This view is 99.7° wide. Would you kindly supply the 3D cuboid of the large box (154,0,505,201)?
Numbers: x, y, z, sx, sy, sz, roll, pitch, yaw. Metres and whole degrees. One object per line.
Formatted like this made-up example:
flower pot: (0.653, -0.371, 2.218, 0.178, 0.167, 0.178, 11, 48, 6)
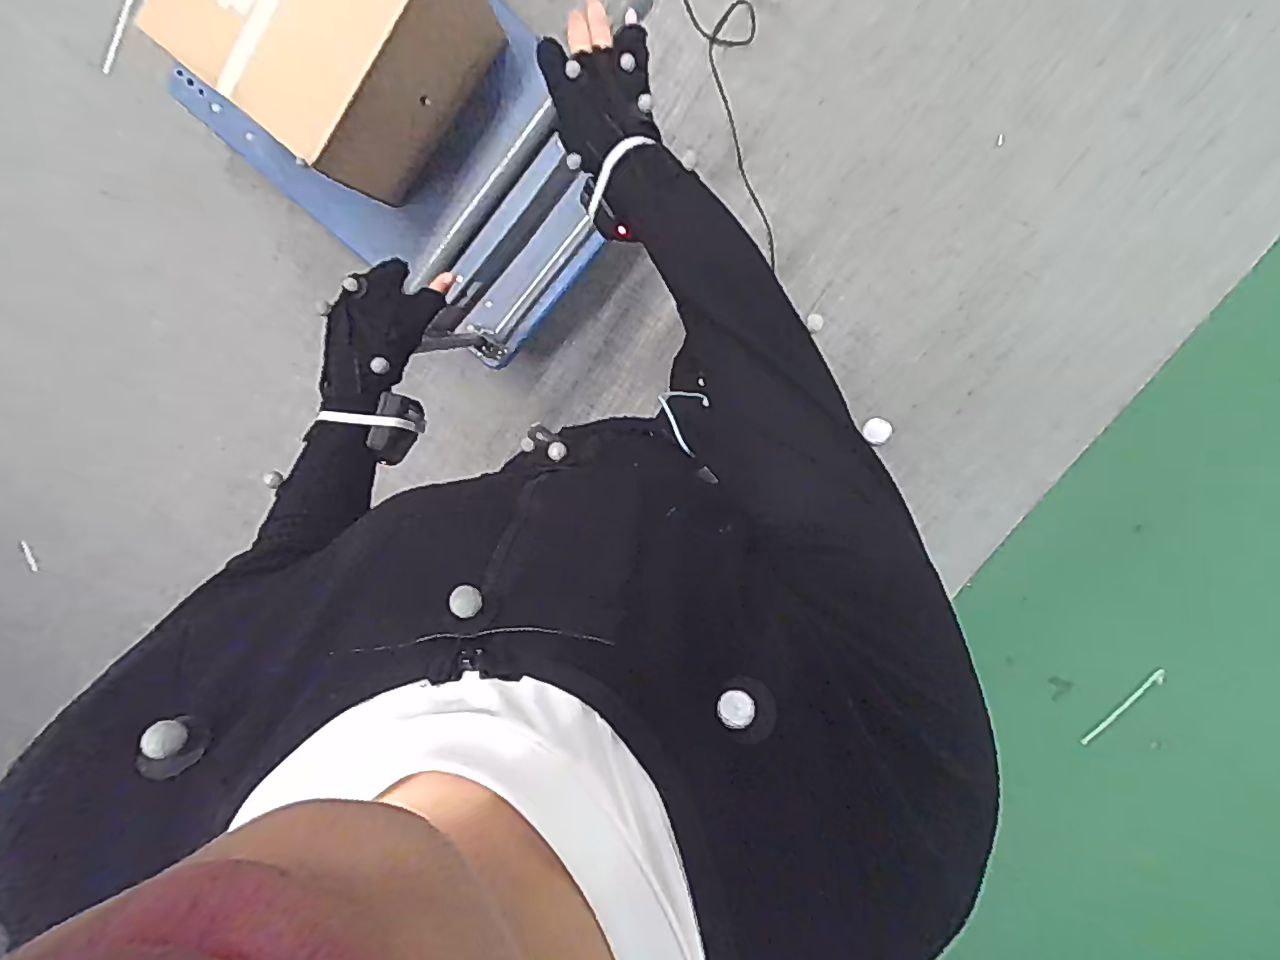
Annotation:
large box: (-0.502, -0.789, 0.947, 0.320, 0.320, 0.408, 39, 104, -8)
